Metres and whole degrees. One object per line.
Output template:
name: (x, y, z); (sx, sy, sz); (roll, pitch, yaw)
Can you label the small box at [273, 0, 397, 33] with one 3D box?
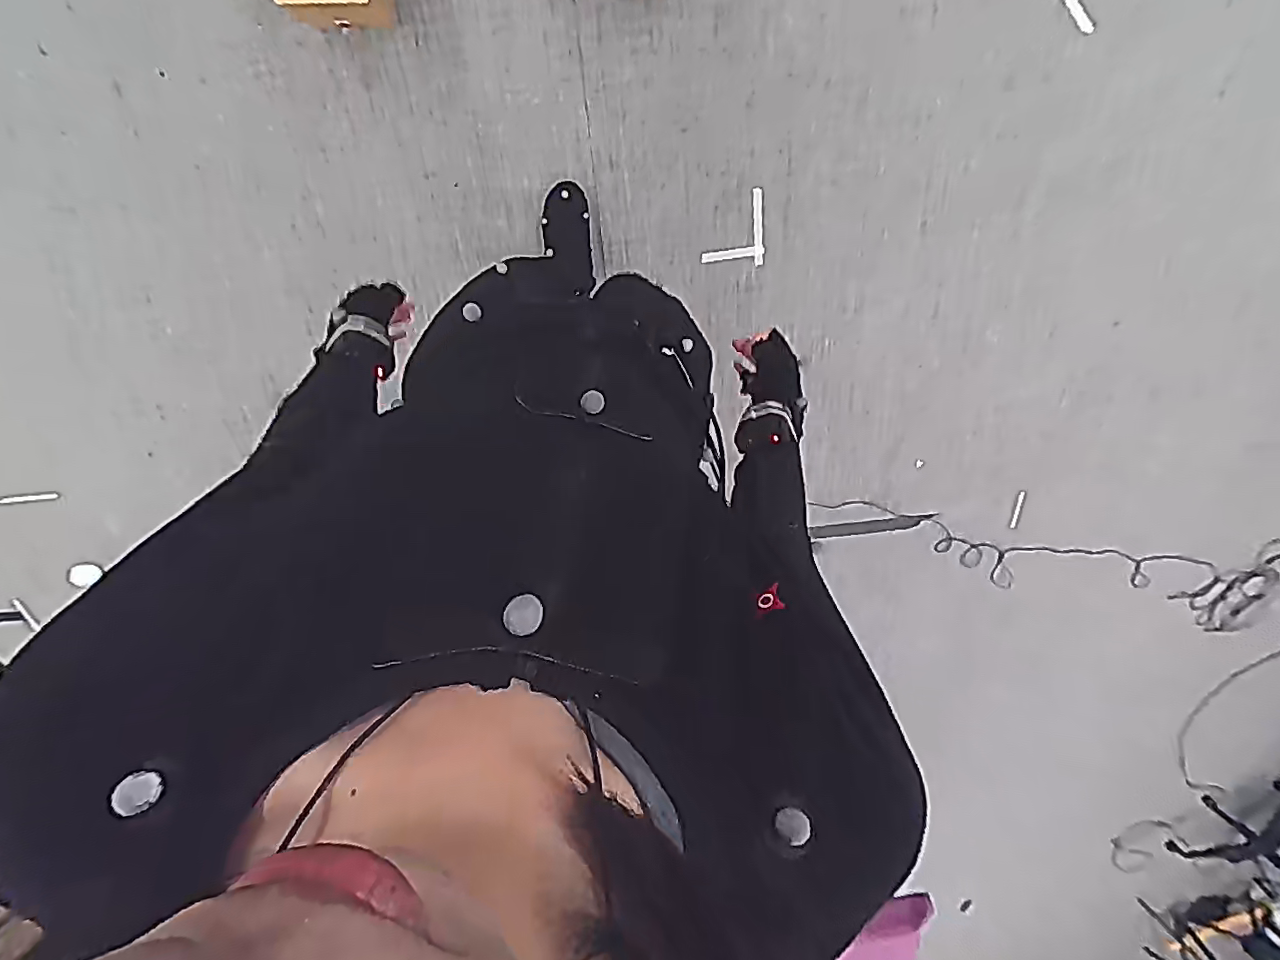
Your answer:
small box: (-0.566, -0.945, 0.981); (0.168, 0.176, 0.179); (-3, 118, -3)
